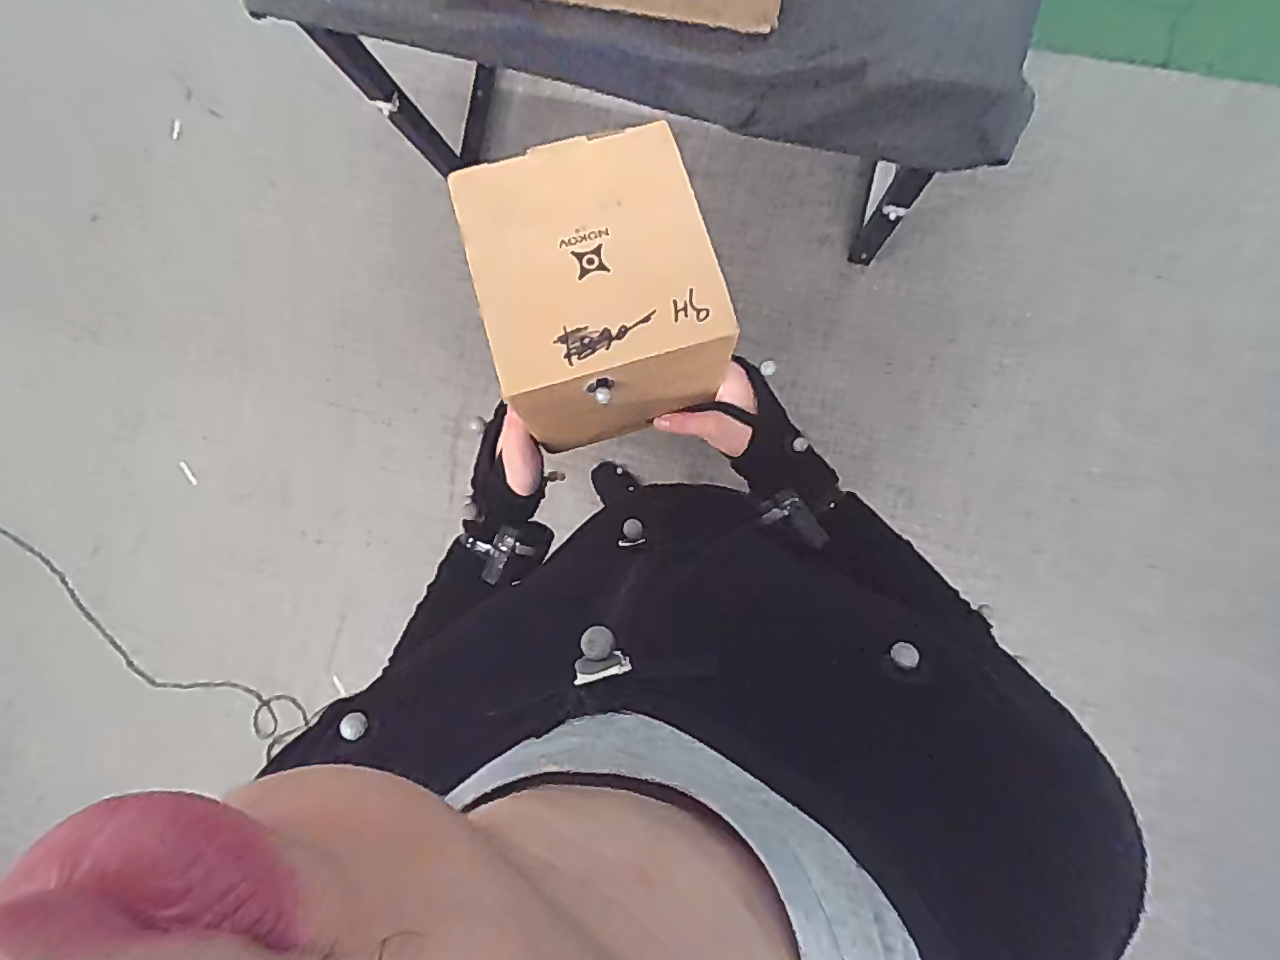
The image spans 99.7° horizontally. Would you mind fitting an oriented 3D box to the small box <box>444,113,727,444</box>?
[{"bbox_3d":[-0.039,-0.148,0.450,0.168,0.176,0.179,-16,80,0],"label":"small box"}]
